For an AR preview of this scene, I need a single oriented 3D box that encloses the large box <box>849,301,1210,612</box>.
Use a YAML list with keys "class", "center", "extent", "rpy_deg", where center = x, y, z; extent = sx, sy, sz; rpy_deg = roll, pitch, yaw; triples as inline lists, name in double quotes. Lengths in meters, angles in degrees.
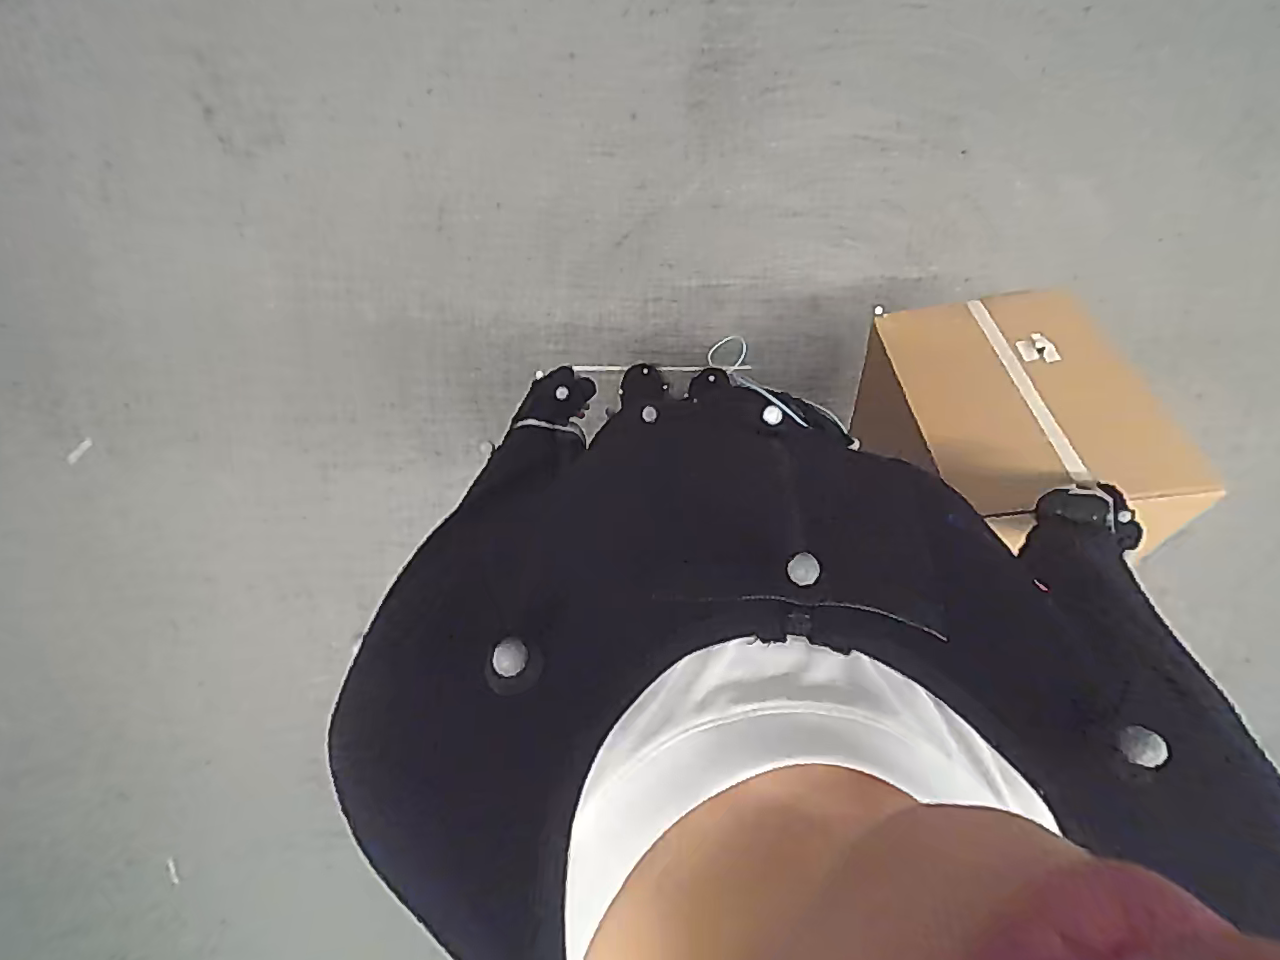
- class: "large box"
  center: [0.577, -0.033, 0.920]
  extent: [0.320, 0.408, 0.320]
  rpy_deg: [-7, 143, 7]
